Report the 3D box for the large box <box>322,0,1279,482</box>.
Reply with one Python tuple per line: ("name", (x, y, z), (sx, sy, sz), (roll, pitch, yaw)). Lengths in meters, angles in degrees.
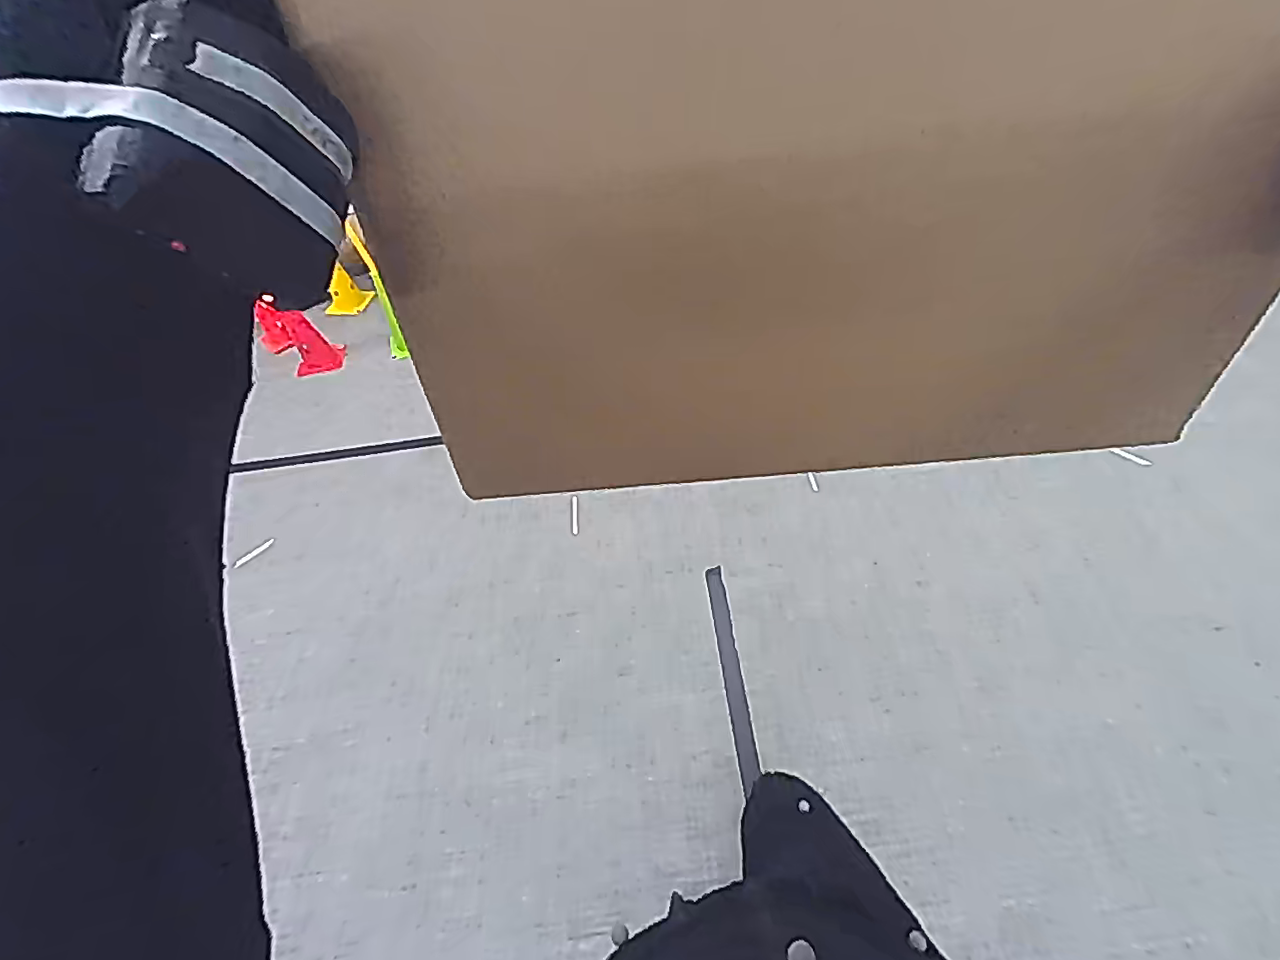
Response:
("large box", (0.080, -0.222, 0.340), (0.408, 0.320, 0.320), (-5, 41, 0))
